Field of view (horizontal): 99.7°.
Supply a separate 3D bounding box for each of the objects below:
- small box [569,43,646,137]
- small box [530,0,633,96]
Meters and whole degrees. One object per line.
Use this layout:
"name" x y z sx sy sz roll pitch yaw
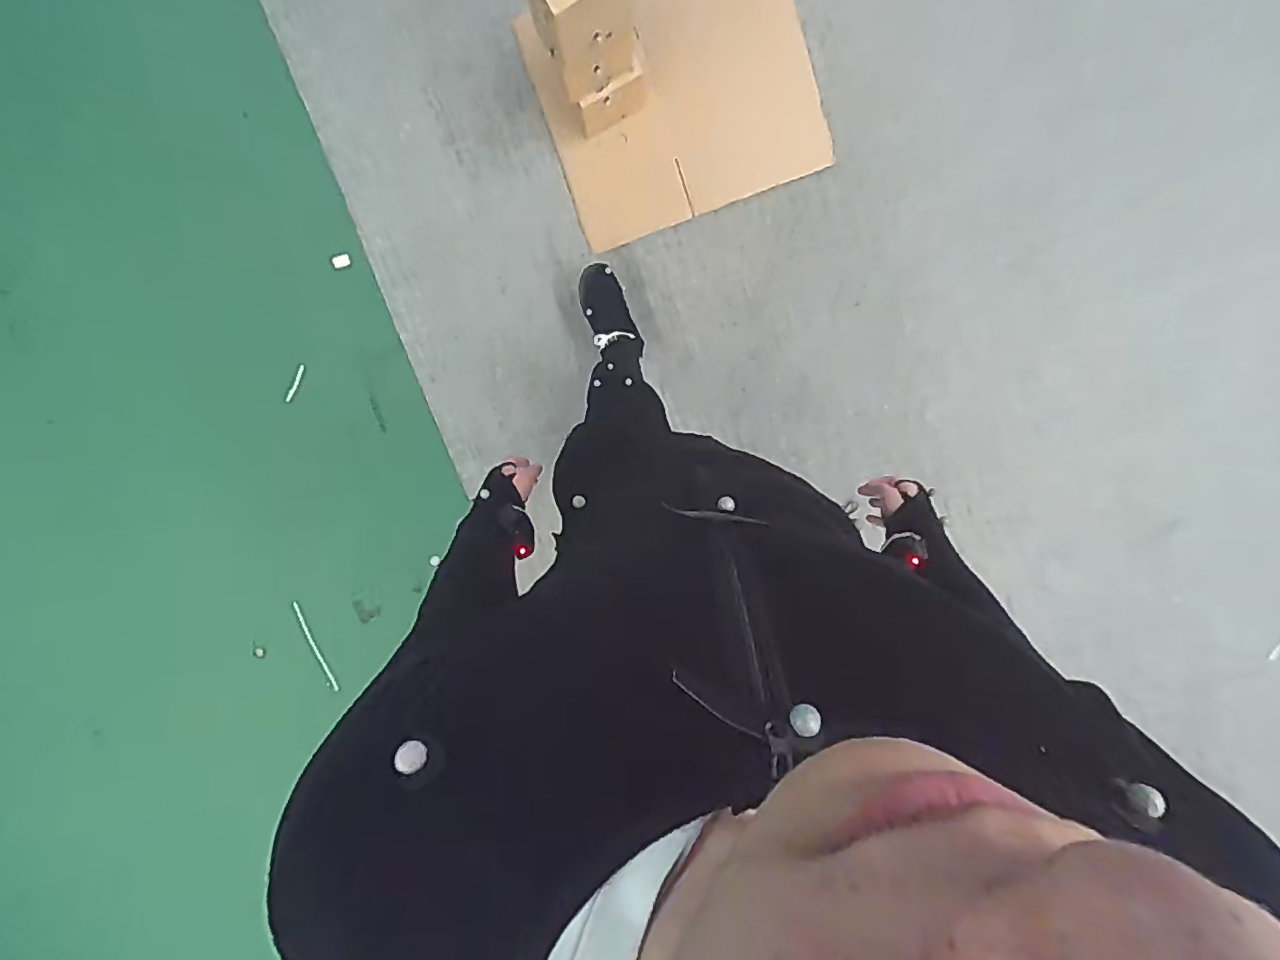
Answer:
"small box" -0.096 -0.993 1.324 0.168 0.176 0.179 -27 98 5
"small box" -0.121 -0.972 1.161 0.168 0.176 0.179 -26 98 4
